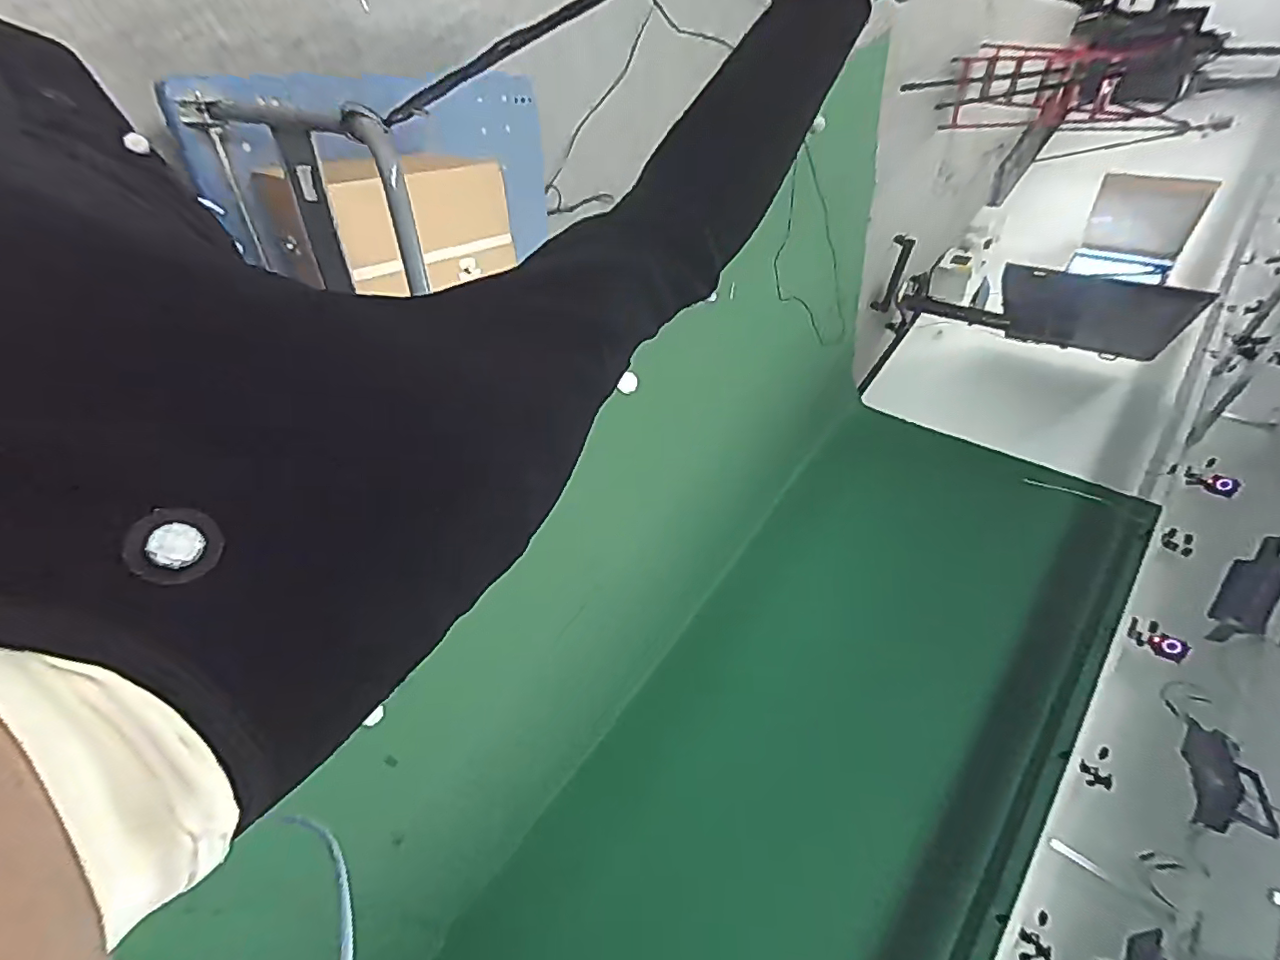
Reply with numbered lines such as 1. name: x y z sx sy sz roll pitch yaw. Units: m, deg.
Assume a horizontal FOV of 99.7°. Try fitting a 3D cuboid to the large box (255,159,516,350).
1. large box: -0.560 -0.541 1.247 0.408 0.320 0.320 -35 139 -38
